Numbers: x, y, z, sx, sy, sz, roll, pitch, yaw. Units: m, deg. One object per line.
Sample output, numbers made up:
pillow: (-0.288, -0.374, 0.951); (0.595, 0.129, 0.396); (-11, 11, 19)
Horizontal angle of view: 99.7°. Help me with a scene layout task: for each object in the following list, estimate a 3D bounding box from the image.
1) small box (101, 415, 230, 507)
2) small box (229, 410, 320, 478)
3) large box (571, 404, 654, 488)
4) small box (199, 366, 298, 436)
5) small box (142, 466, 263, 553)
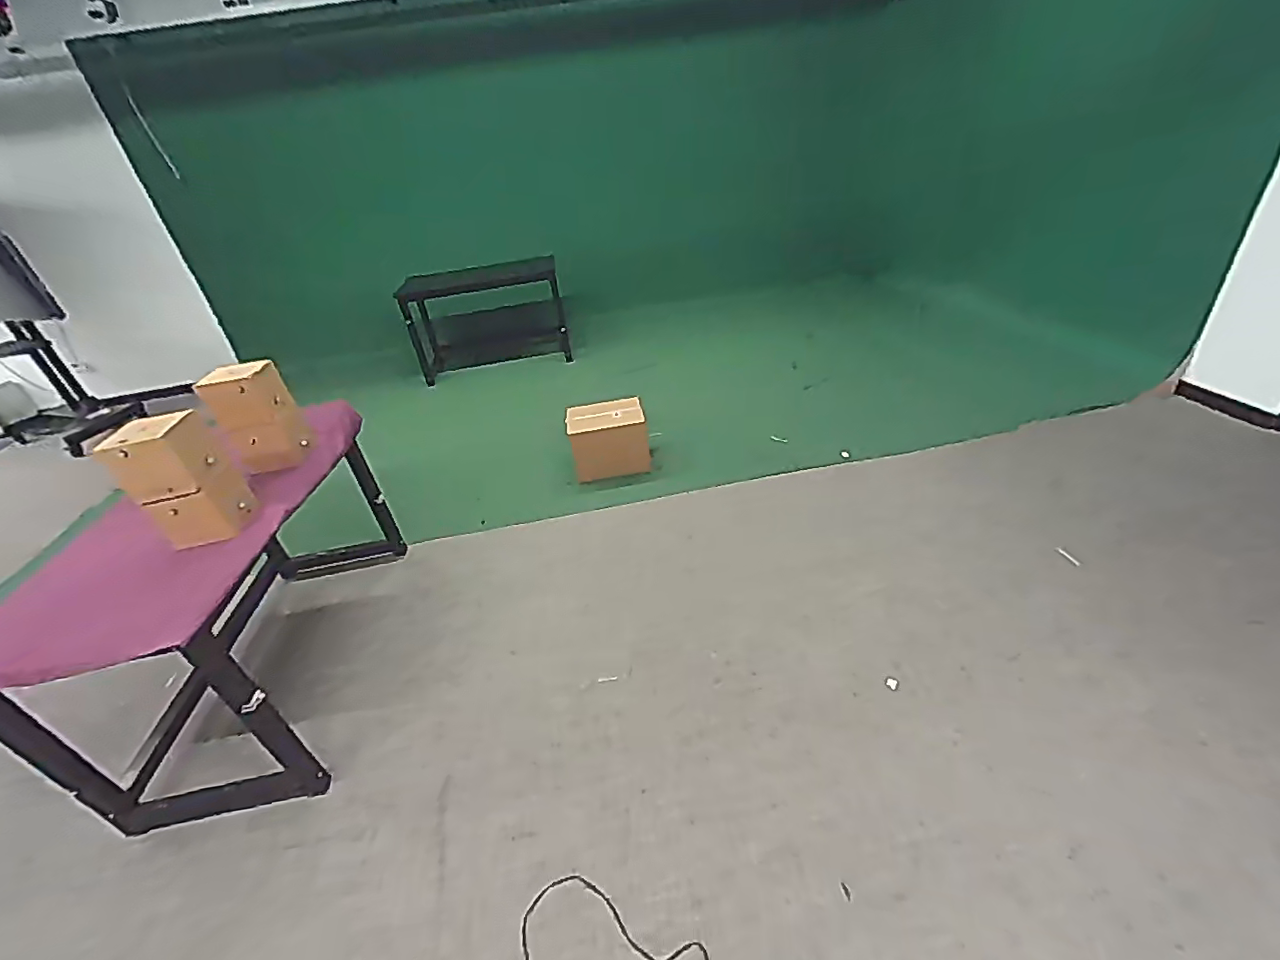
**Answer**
small box: (-1.251, -0.051, 1.447); (0.168, 0.176, 0.179); (-13, 32, -3)
small box: (-1.254, -0.123, 1.870); (0.179, 0.176, 0.168); (-10, 33, -3)
large box: (-0.152, -0.187, 2.940); (0.408, 0.320, 0.320); (-9, 33, -2)
small box: (-1.281, -0.258, 1.784); (0.179, 0.176, 0.168); (-11, 33, -3)
small box: (-1.229, 0.085, 1.535); (0.179, 0.176, 0.168); (-12, 33, -3)
